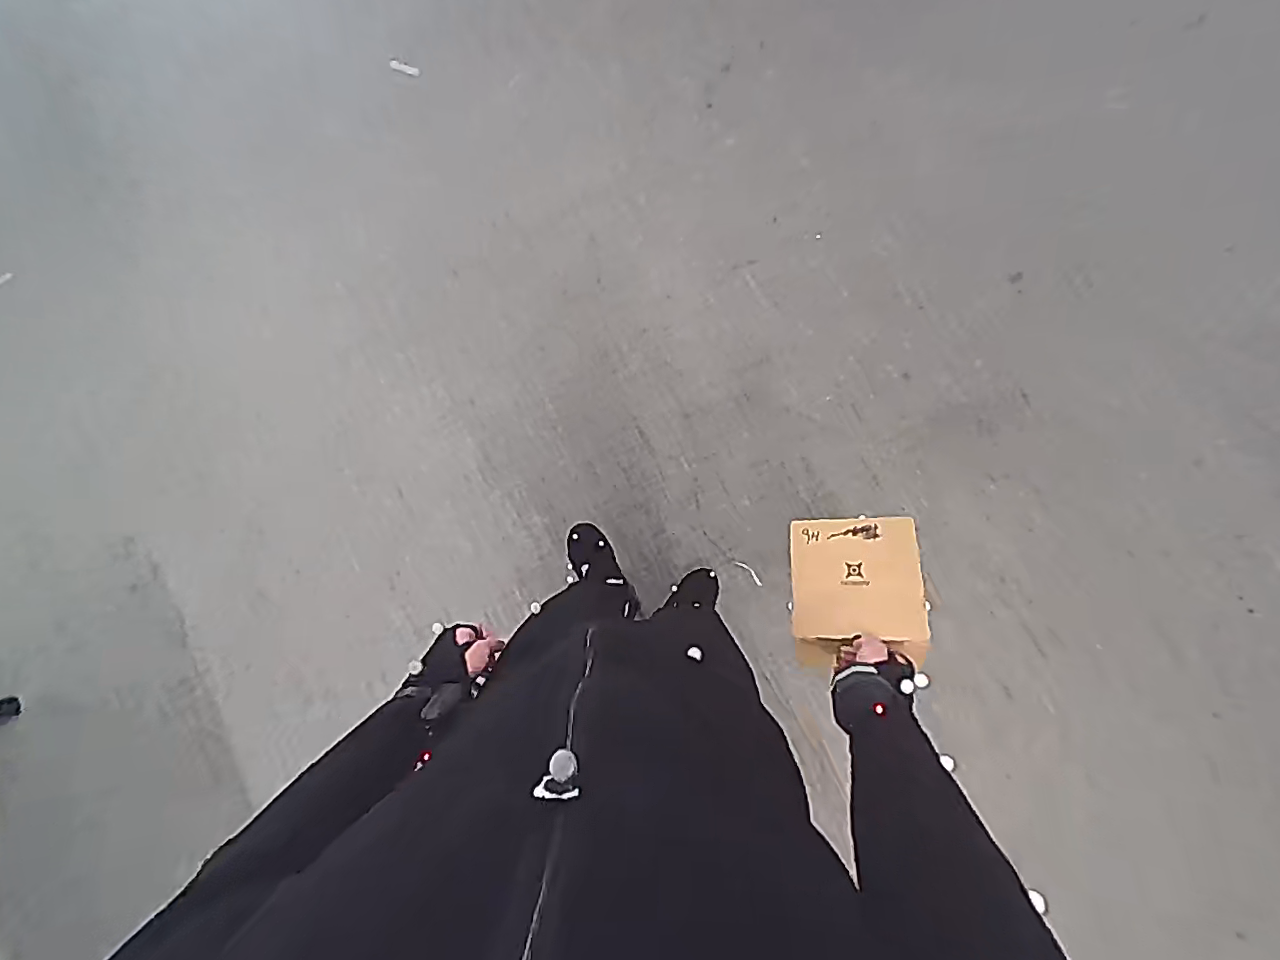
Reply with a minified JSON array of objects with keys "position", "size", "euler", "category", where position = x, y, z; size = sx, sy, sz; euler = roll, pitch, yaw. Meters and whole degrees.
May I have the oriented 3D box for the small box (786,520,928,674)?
[{"position":[0.313,0.179,0.791],"size":[0.168,0.176,0.179],"euler":[-8,55,19],"category":"small box"}]
